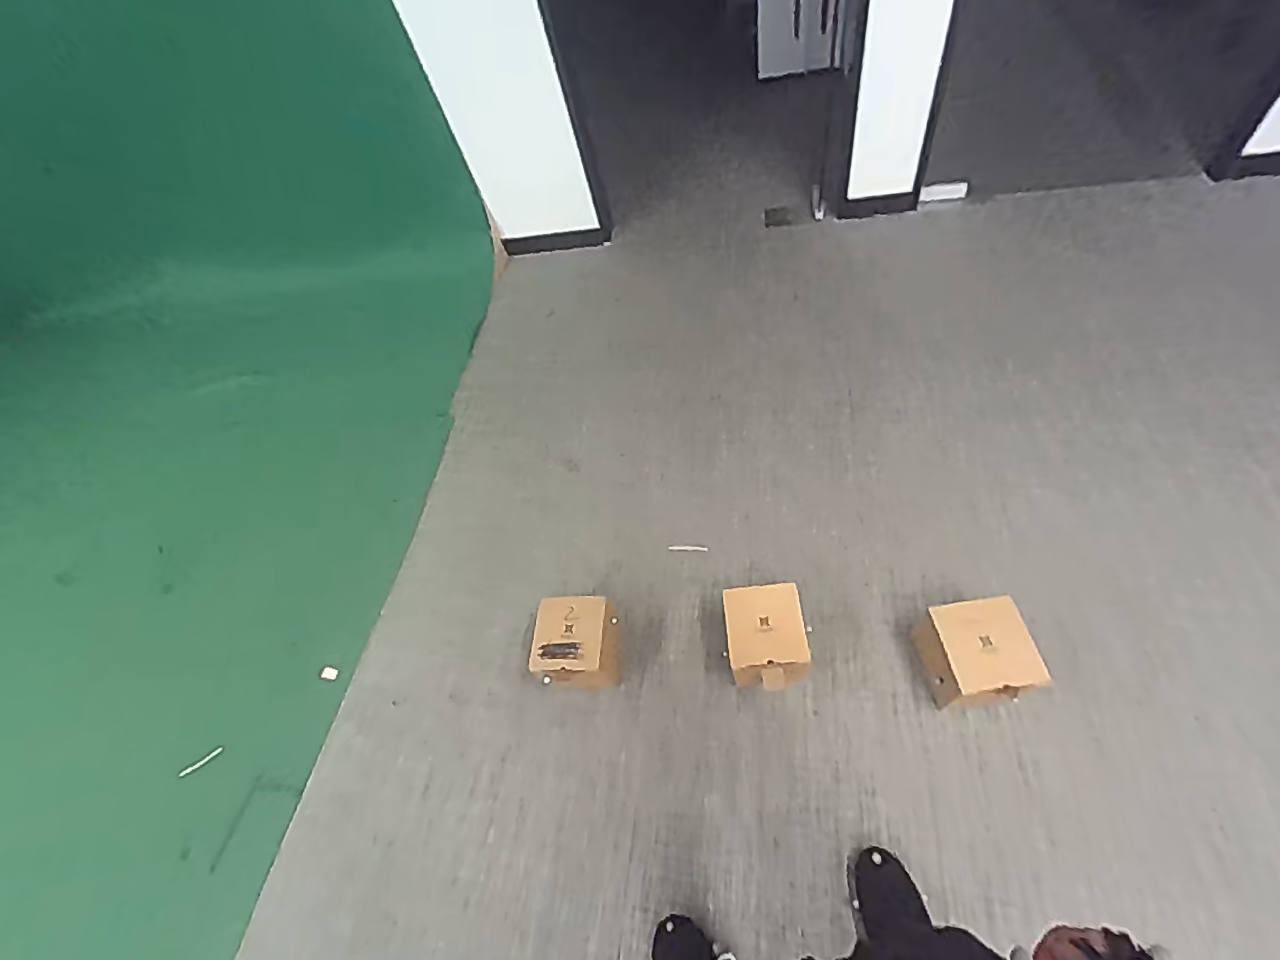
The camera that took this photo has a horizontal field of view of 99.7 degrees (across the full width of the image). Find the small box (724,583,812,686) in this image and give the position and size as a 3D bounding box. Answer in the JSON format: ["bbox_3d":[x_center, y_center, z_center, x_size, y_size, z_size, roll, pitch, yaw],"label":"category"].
[{"bbox_3d":[0.284,0.353,1.225,0.168,0.176,0.179,-8,56,8],"label":"small box"}]

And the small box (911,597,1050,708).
[{"bbox_3d":[0.691,0.364,1.121,0.168,0.176,0.179,-10,55,5],"label":"small box"}]
